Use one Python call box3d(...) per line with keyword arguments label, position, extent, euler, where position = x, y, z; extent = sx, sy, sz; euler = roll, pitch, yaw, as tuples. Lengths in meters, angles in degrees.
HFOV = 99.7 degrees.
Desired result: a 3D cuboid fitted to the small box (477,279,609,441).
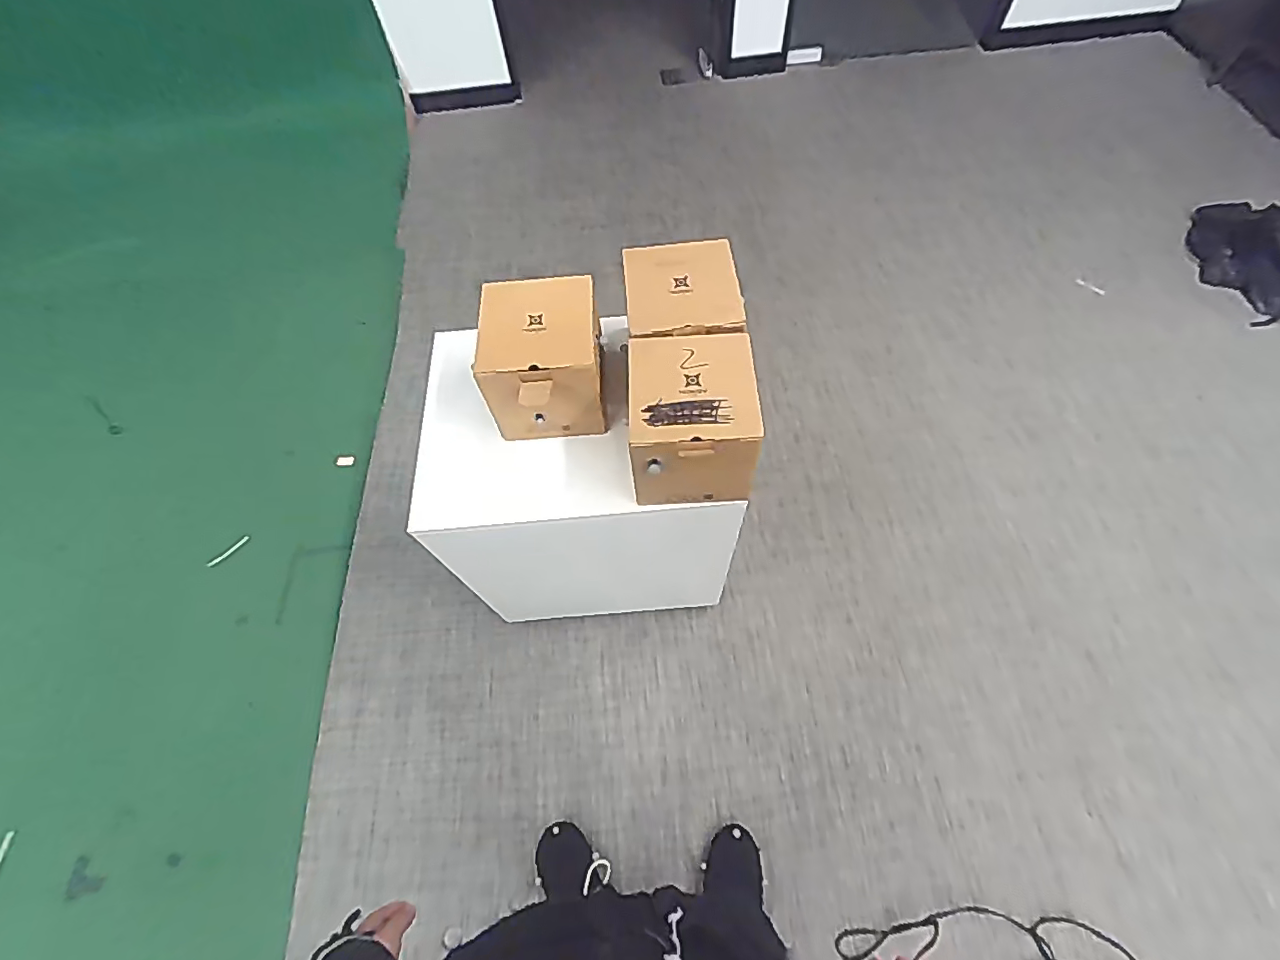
box3d(label="small box", position=(-0.139, -0.180, 0.835), extent=(0.168, 0.176, 0.179), euler=(-5, 62, 1))
